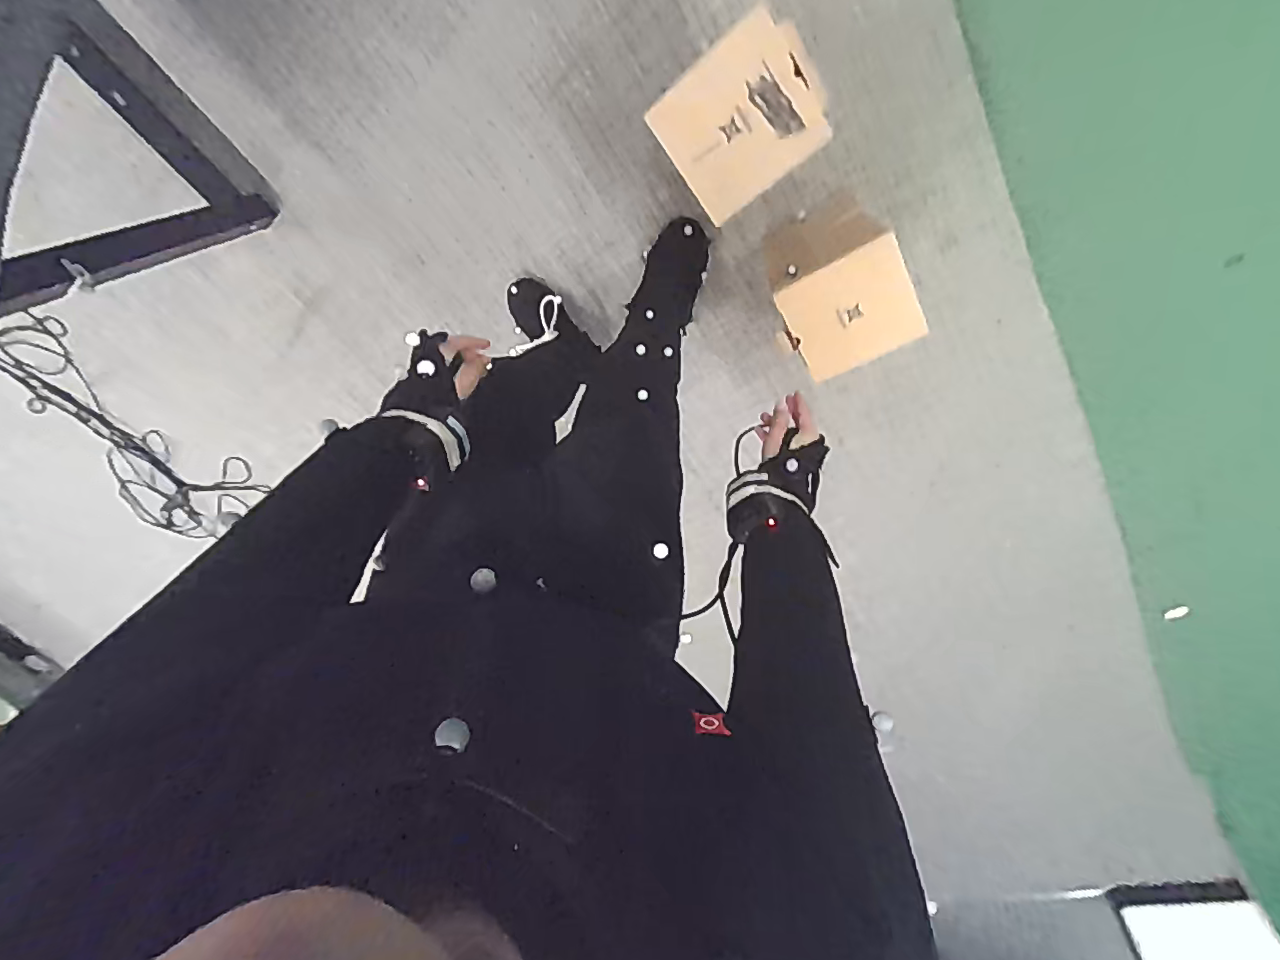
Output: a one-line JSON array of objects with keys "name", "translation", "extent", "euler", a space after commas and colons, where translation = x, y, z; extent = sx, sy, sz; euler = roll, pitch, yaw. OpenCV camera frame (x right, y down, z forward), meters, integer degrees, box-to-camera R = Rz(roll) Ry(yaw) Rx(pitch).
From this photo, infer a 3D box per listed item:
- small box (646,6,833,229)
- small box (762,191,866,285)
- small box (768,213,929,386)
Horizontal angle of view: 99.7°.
[{"name": "small box", "translation": [0.131, -0.479, 0.728], "extent": [0.179, 0.176, 0.168], "euler": [-30, 115, 28]}, {"name": "small box", "translation": [0.334, -0.383, 0.971], "extent": [0.179, 0.176, 0.168], "euler": [-24, 120, 27]}, {"name": "small box", "translation": [0.314, -0.284, 0.842], "extent": [0.179, 0.176, 0.168], "euler": [-24, 120, 25]}]
